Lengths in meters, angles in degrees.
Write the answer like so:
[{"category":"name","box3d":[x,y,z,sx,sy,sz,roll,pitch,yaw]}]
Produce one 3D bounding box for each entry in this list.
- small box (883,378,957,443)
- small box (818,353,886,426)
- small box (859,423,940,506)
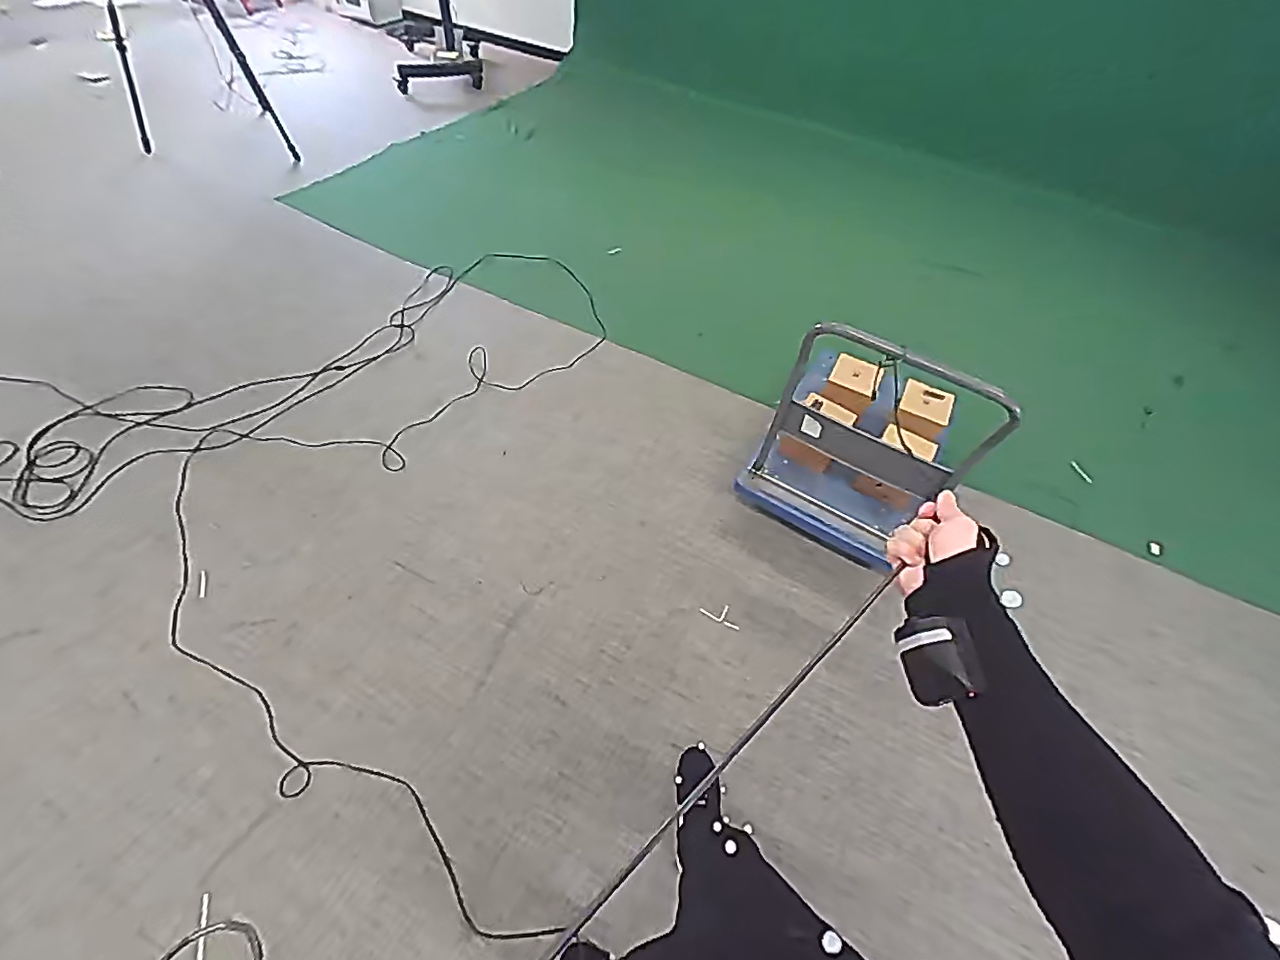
[{"category":"small box","box3d":[0.996,-0.225,1.932,0.168,0.176,0.179,25,56,15]},{"category":"small box","box3d":[0.775,-0.330,1.993,0.168,0.176,0.179,26,55,13]},{"category":"small box","box3d":[0.852,-0.049,1.788,0.168,0.176,0.179,30,57,17]}]
